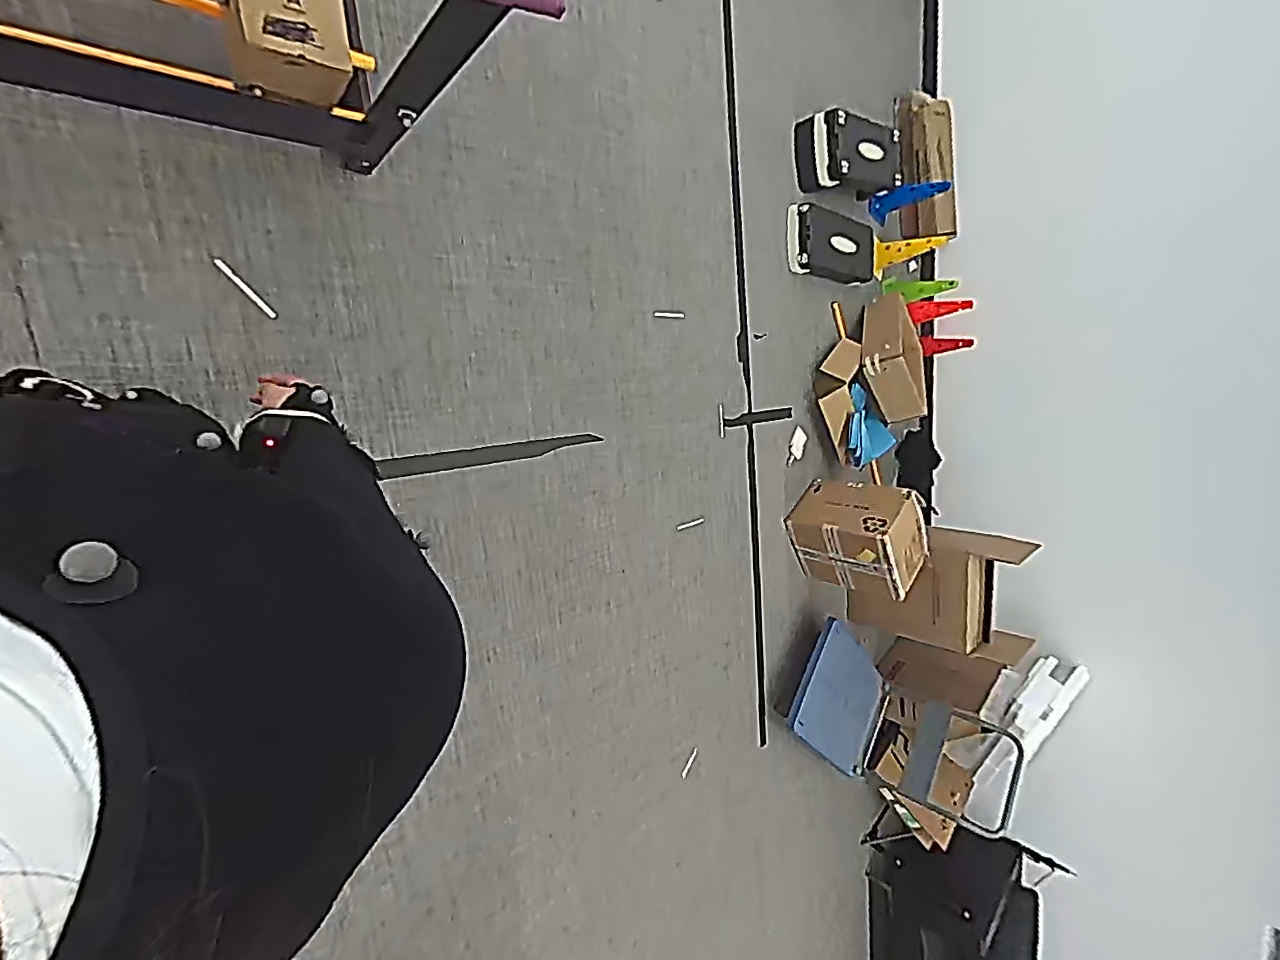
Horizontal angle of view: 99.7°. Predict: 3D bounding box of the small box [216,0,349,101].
[{"bbox_3d":[-0.641,-0.821,0.964,0.168,0.176,0.179,-12,103,-41],"label":"small box"}]
